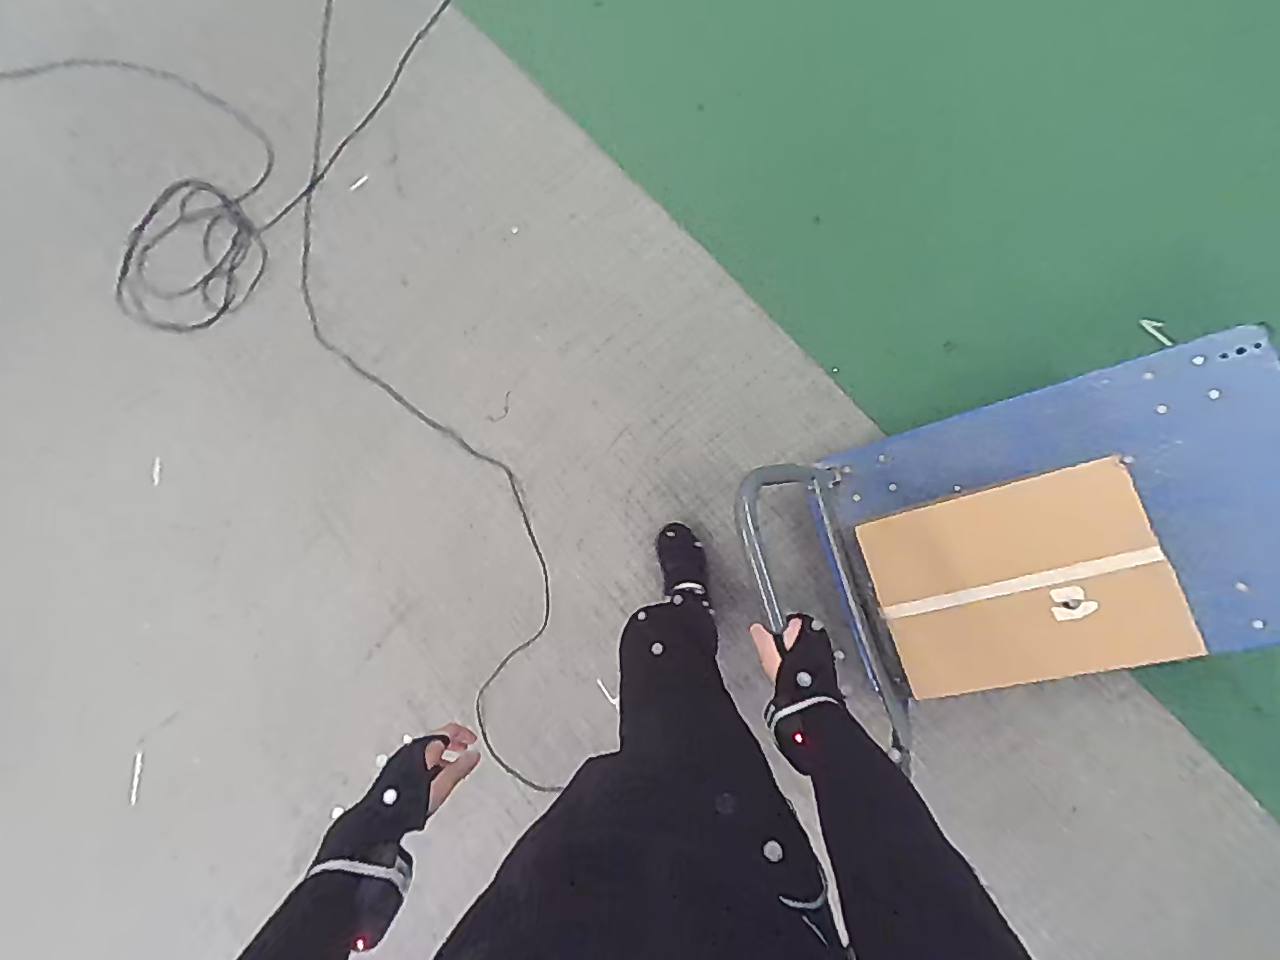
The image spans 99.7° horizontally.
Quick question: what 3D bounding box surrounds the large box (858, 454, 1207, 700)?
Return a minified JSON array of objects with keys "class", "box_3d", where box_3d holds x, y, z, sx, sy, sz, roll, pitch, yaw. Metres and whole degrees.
[{"class":"large box","box_3d":[0.662,0.175,1.011,0.408,0.320,0.320,-19,81,20]}]
